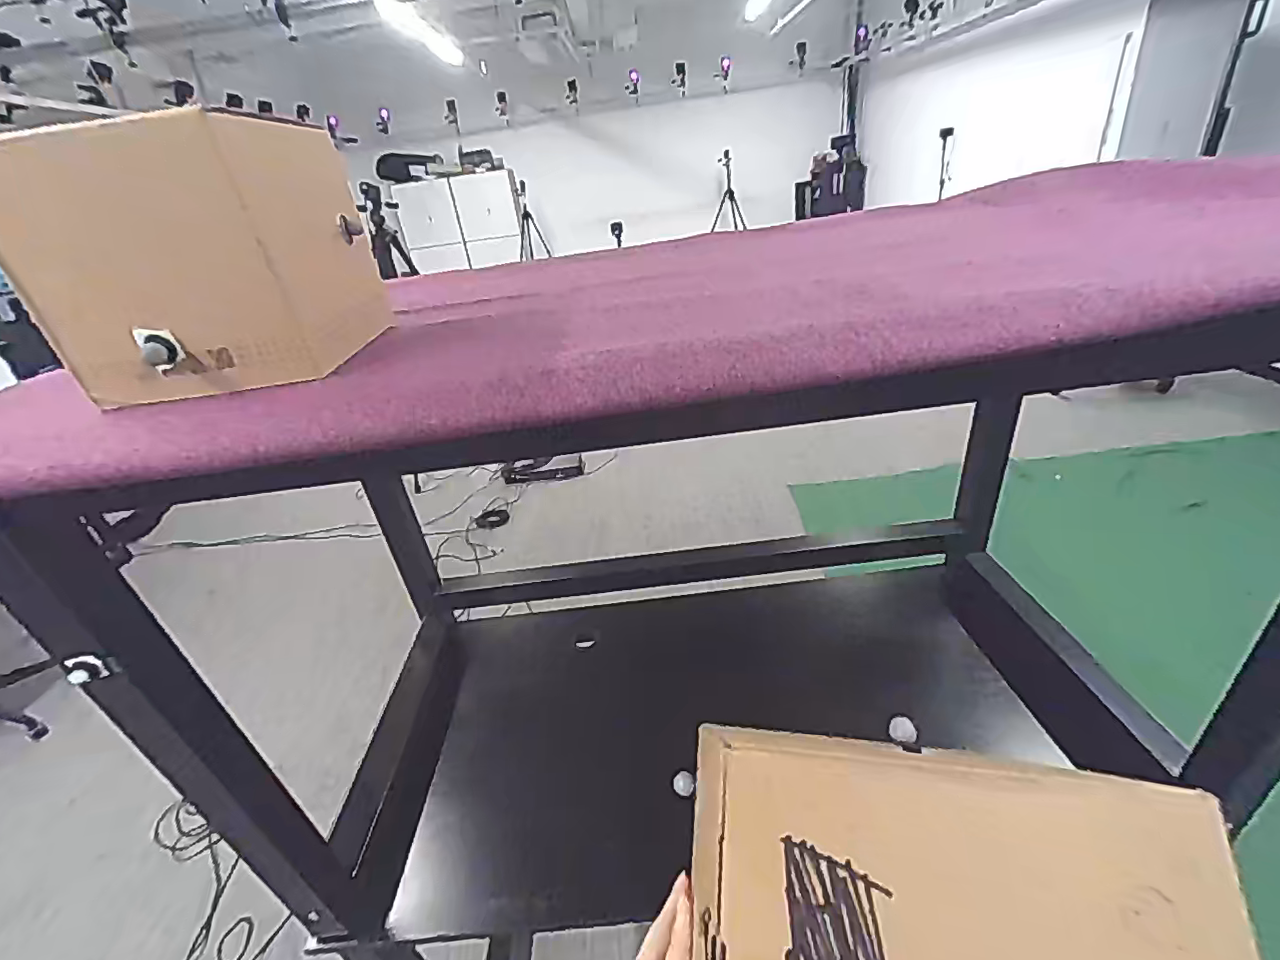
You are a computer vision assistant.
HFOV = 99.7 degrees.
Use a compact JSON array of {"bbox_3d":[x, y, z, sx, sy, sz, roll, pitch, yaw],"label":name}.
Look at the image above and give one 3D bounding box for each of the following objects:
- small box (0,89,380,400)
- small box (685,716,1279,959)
[{"bbox_3d":[-0.326,-0.176,0.415,0.168,0.176,0.179,-10,31,0],"label":"small box"},{"bbox_3d":[0.110,0.199,0.234,0.179,0.176,0.168,4,69,4],"label":"small box"}]
